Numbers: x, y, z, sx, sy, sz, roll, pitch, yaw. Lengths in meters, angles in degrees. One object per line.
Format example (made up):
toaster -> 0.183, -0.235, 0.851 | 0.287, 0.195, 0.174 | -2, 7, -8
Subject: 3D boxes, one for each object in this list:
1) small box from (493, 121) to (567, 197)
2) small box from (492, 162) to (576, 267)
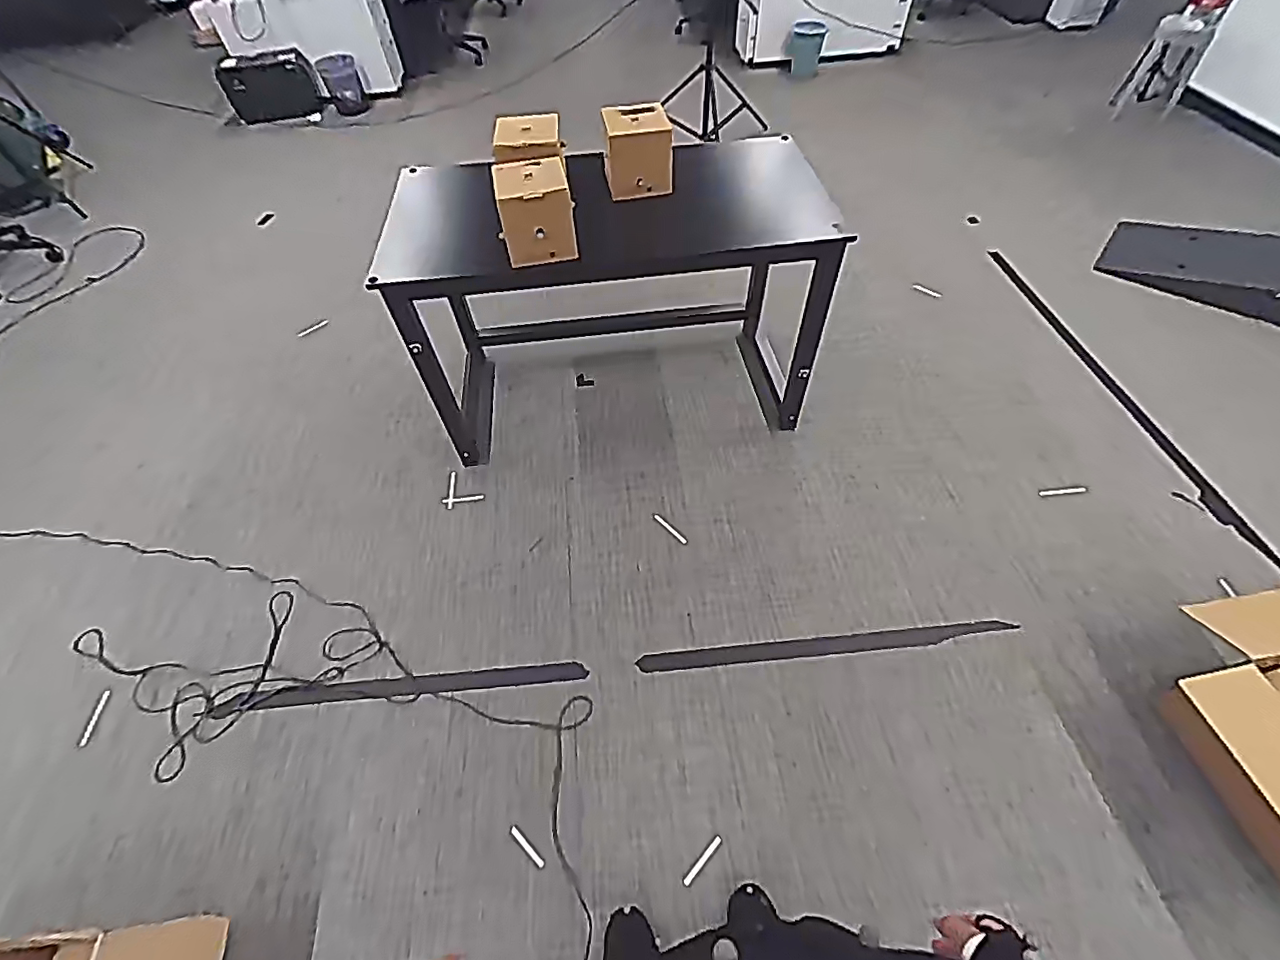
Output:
small box -> -0.294, -0.851, 1.479 | 0.168, 0.176, 0.179 | -6, 54, -1
small box -> -0.255, -0.638, 1.316 | 0.168, 0.176, 0.179 | -11, 54, -6
